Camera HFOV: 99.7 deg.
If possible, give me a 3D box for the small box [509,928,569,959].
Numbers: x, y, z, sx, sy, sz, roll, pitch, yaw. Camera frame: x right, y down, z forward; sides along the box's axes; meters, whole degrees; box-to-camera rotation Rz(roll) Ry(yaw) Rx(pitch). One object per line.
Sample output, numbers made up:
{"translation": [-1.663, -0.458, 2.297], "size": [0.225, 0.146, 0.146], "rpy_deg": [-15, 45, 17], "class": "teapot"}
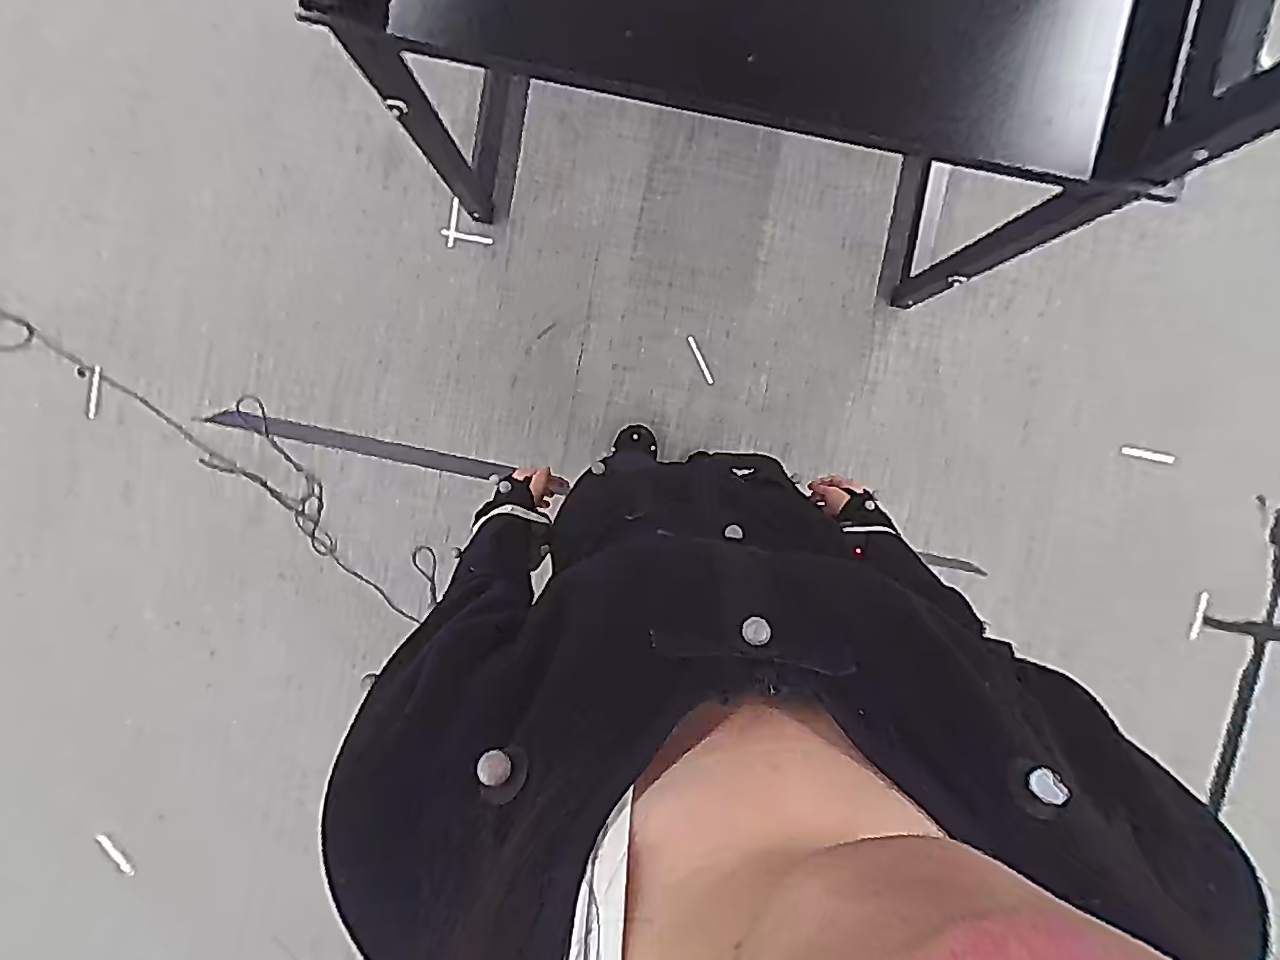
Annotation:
{"translation": [-0.295, 1.409, 1.512], "size": [0.168, 0.176, 0.179], "rpy_deg": [8, 95, -1], "class": "small box"}
